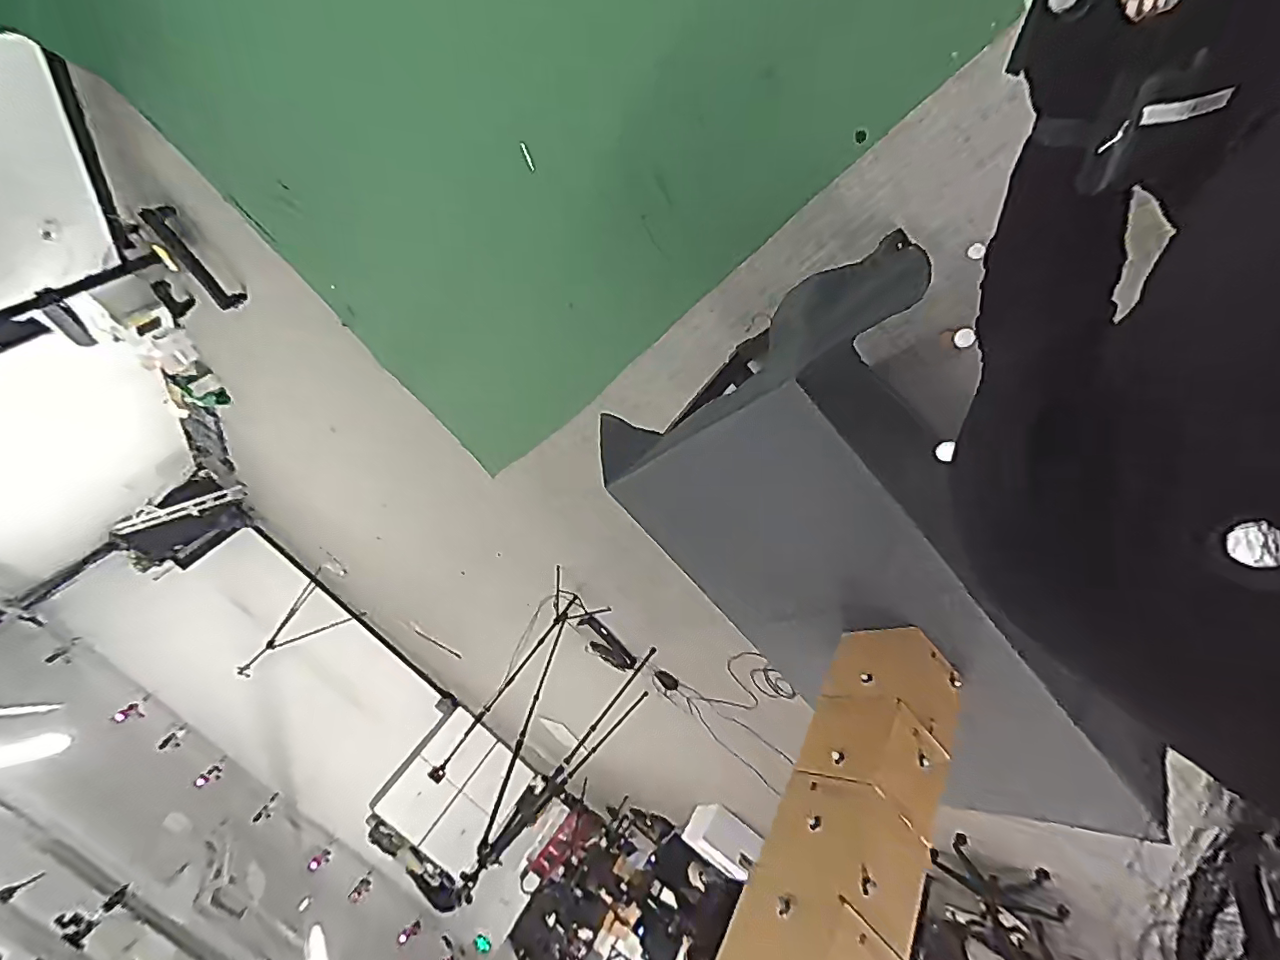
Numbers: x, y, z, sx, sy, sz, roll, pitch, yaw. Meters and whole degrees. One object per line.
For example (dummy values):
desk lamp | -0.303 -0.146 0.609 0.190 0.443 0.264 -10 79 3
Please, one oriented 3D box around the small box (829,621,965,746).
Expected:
small box | 0.520 0.400 1.082 0.168 0.176 0.179 47 145 -10

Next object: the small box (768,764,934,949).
small box | 0.349 0.601 0.889 0.179 0.176 0.168 48 144 -11

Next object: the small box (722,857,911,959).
small box | 0.260 0.699 0.793 0.168 0.176 0.179 49 144 -12

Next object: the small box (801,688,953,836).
small box | 0.435 0.500 0.988 0.168 0.176 0.179 47 143 -10
